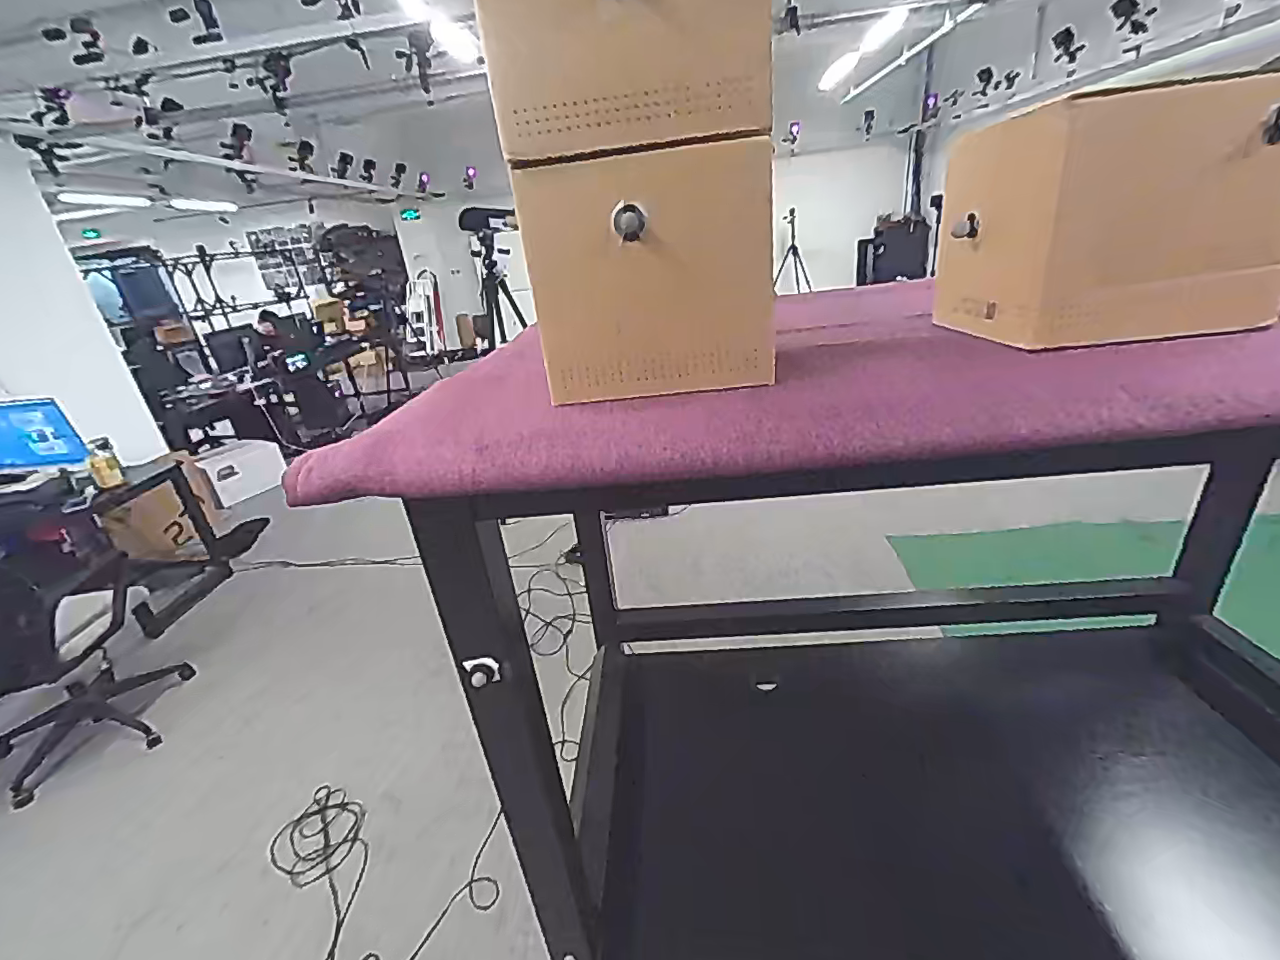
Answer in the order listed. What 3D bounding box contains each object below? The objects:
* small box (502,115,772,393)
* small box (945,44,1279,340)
[{"bbox_3d":[0.008,-0.176,0.446,0.179,0.176,0.168,-5,26,4],"label":"small box"},{"bbox_3d":[0.369,-0.212,0.435,0.179,0.176,0.168,-5,23,5],"label":"small box"}]
